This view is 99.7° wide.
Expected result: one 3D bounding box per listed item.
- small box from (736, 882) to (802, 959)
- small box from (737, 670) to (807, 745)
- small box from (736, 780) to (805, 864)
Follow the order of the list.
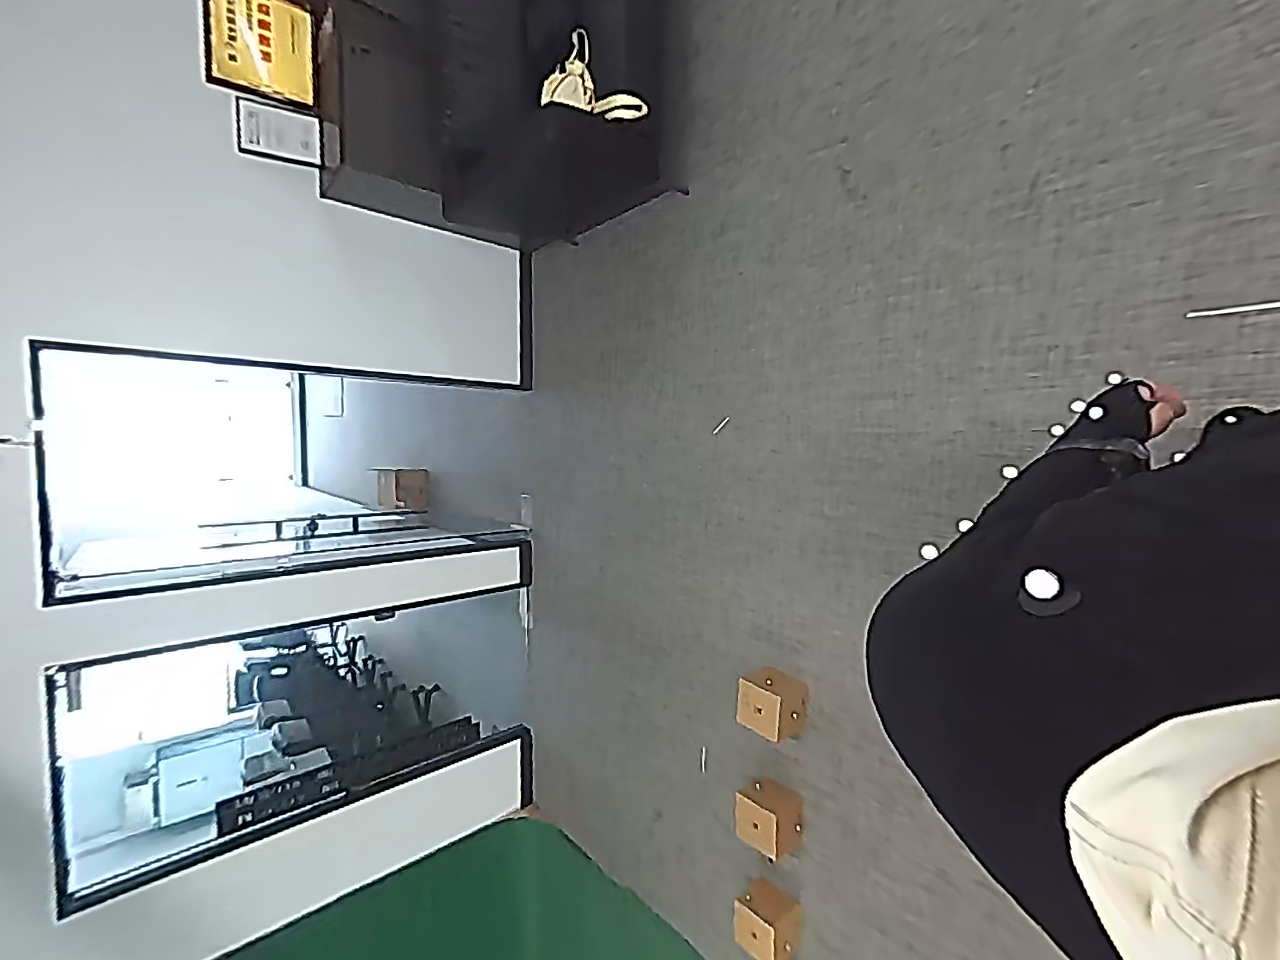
[{"bbox_3d":[0.467,1.610,1.951,0.179,0.176,0.168,3,94,50],"label":"small box"},{"bbox_3d":[0.468,0.793,1.909,0.179,0.176,0.168,10,99,48],"label":"small box"},{"bbox_3d":[0.466,1.211,1.934,0.179,0.176,0.168,3,95,48],"label":"small box"}]
